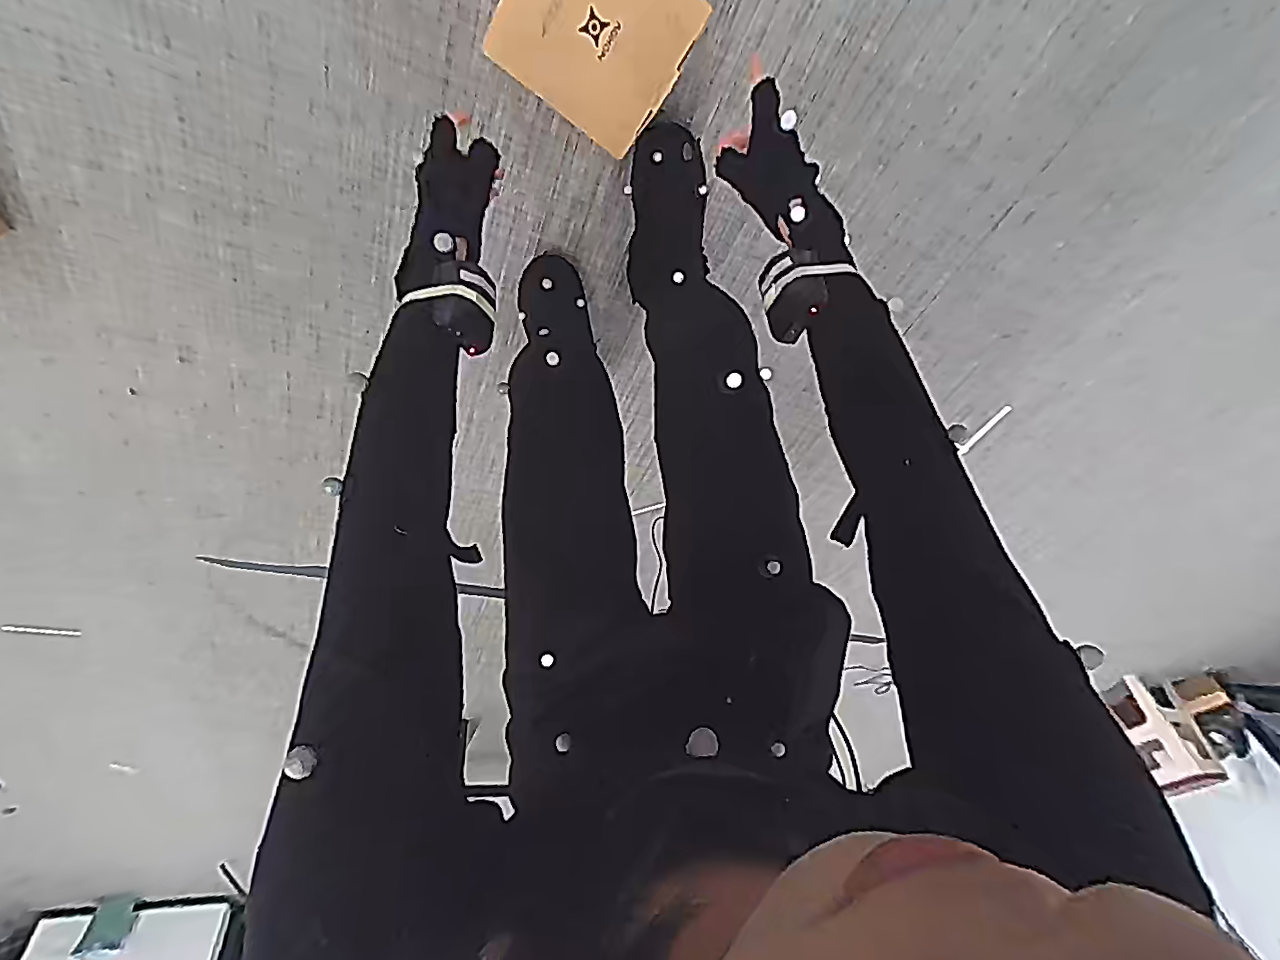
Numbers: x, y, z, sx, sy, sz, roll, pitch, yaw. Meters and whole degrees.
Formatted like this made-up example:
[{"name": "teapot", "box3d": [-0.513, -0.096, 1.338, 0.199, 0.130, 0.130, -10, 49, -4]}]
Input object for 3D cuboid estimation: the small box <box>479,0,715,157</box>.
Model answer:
[{"name": "small box", "box3d": [-0.051, -0.497, 0.580, 0.179, 0.176, 0.168, 23, 126, -29]}]
